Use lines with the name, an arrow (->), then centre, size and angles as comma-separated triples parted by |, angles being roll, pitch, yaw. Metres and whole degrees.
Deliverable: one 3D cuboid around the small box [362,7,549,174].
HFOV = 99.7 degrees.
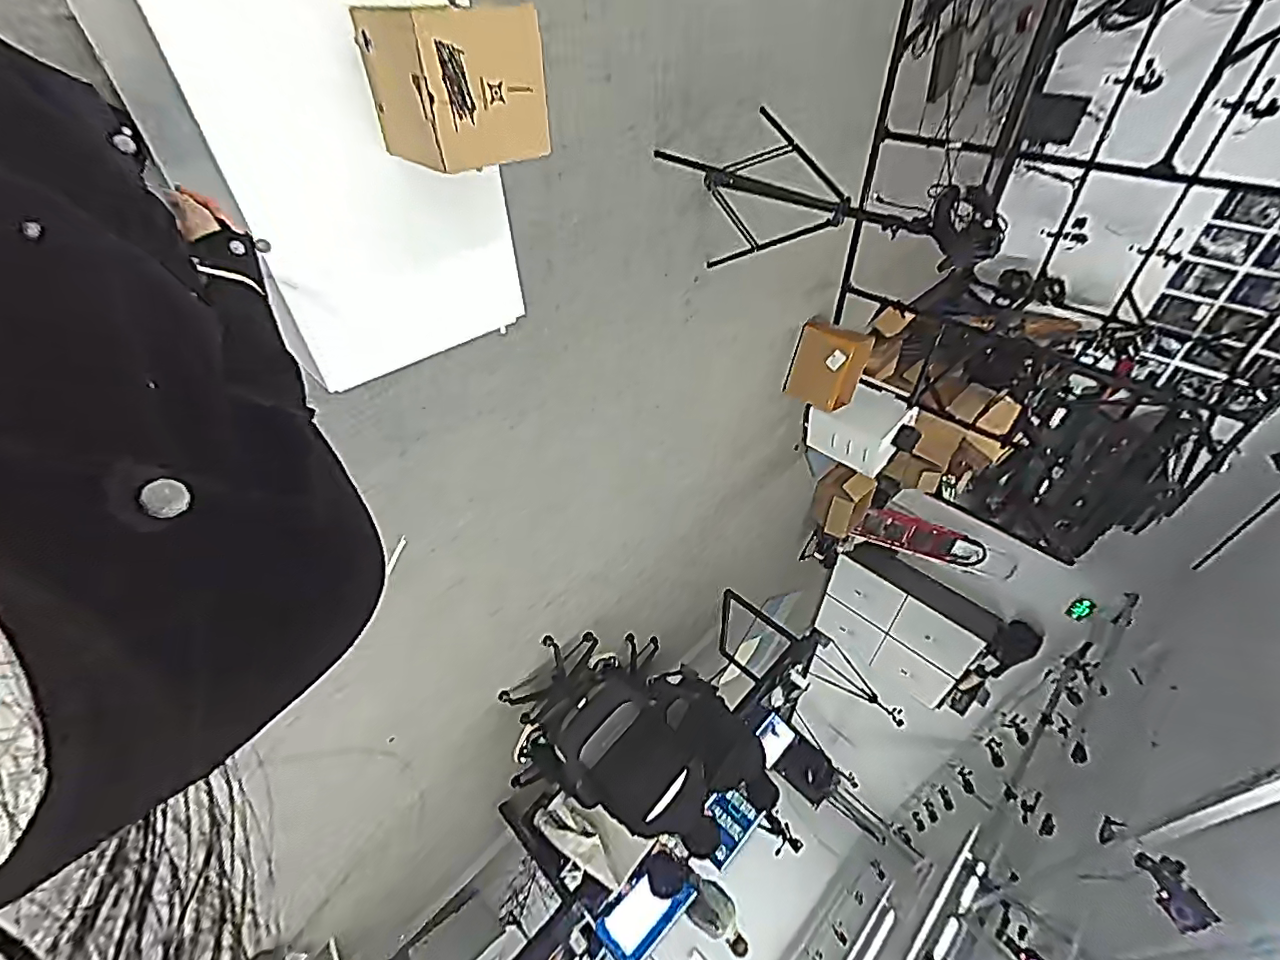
small box -> -0.251, -0.535, 0.739 | 0.179, 0.176, 0.168 | -34, 142, -32
